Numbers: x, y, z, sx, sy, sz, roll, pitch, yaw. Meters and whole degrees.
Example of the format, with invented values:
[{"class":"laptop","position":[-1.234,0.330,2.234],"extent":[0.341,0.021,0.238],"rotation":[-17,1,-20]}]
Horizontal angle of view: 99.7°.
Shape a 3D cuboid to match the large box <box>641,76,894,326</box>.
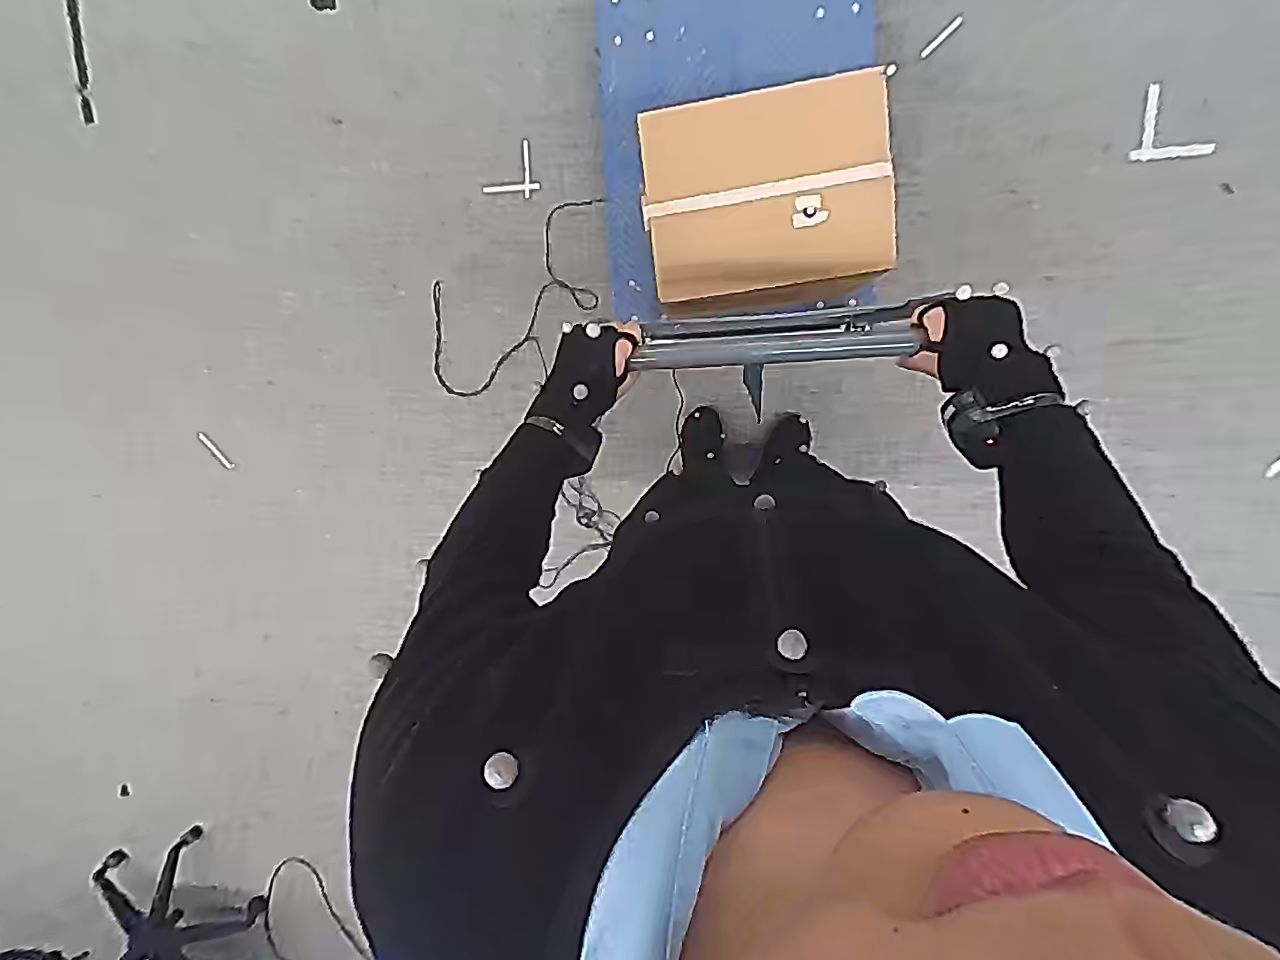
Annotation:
[{"class":"large box","position":[0.229,-0.506,1.067],"extent":[0.408,0.320,0.320],"rotation":[-7,100,6]}]
